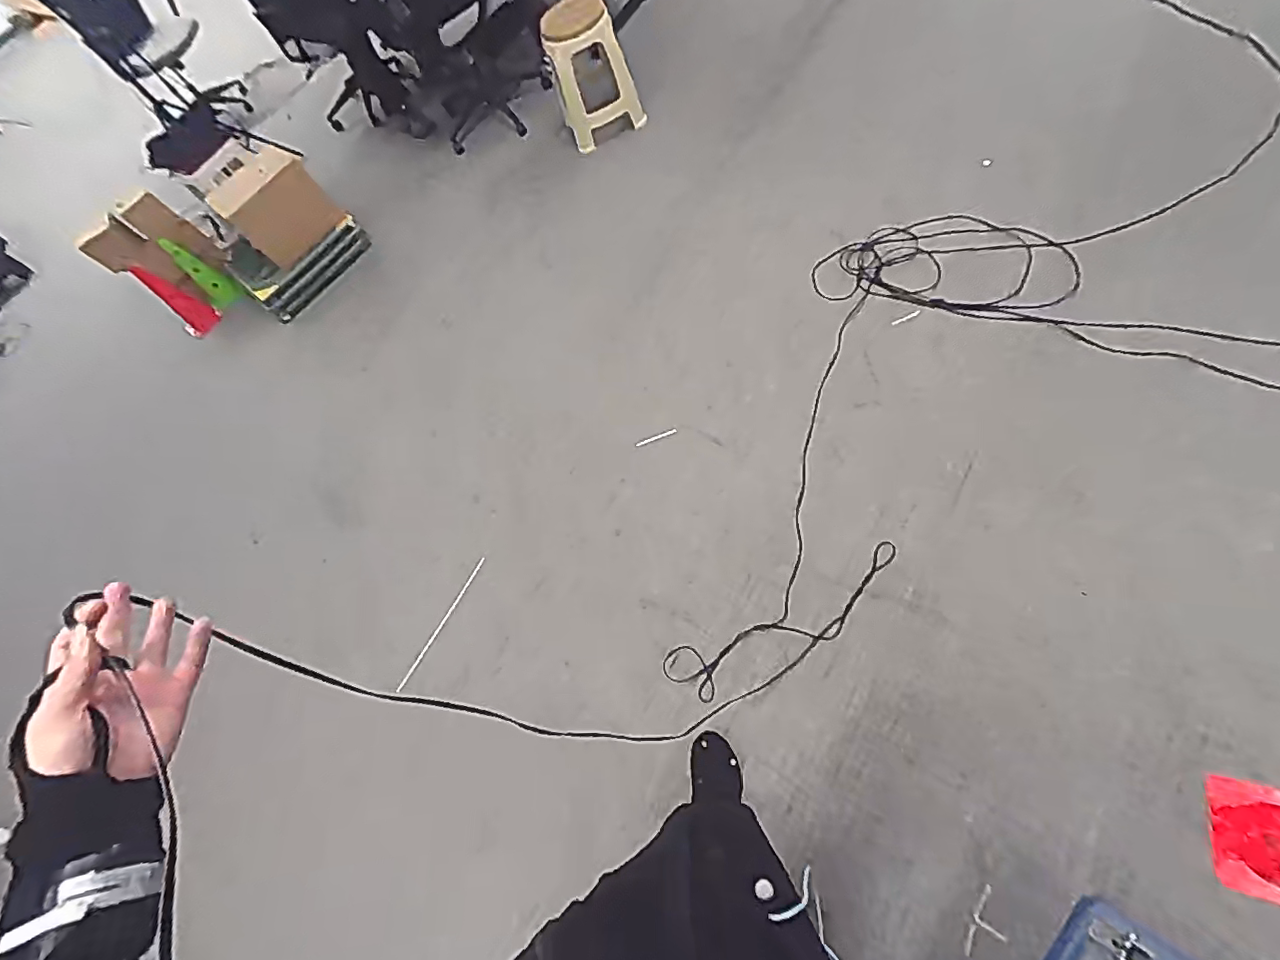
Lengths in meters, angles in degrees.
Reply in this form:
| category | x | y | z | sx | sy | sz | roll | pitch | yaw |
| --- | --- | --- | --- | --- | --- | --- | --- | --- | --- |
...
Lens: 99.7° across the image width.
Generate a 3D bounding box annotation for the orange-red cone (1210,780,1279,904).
| category | x | y | z | sx | sy | sz | roll | pitch | yaw |
| --- | --- | --- | --- | --- | --- | --- | --- | --- | --- |
| orange-red cone | 1.170 | 0.628 | 0.878 | 0.198 | 0.360 | 0.199 | 10 | 67 | 20 |
